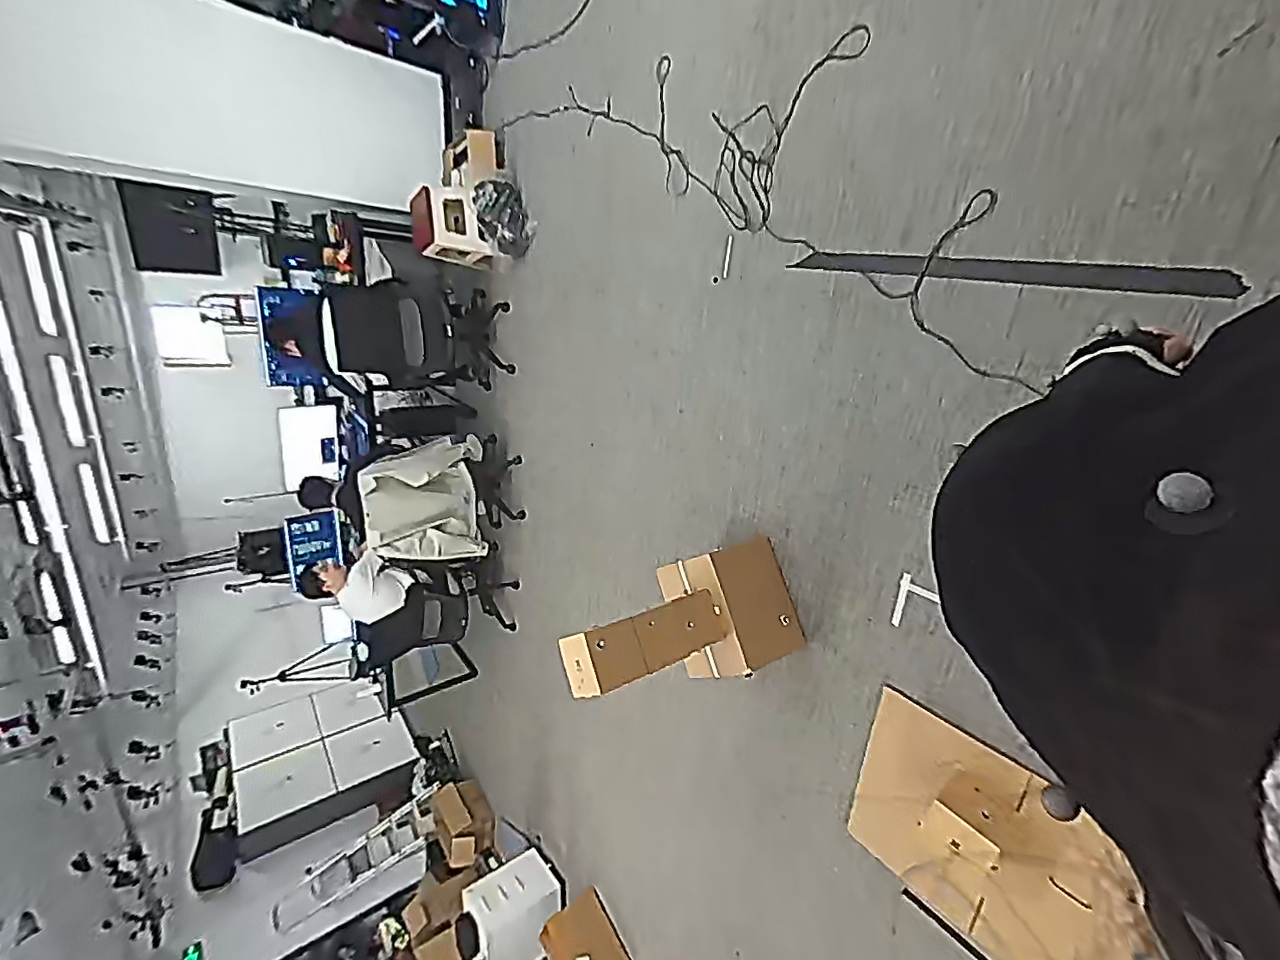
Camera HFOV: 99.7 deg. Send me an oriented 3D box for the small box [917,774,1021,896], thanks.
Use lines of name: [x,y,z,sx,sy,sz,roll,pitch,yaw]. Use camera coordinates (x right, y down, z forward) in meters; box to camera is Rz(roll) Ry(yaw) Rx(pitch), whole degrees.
small box: [0.878,0.932,1.438,0.168,0.176,0.179,31,121,42]

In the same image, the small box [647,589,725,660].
small box: [0.155,0.476,1.787,0.168,0.176,0.179,-34,69,49]

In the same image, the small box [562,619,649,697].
small box: [-0.101,0.517,1.584,0.168,0.176,0.179,-33,71,50]
